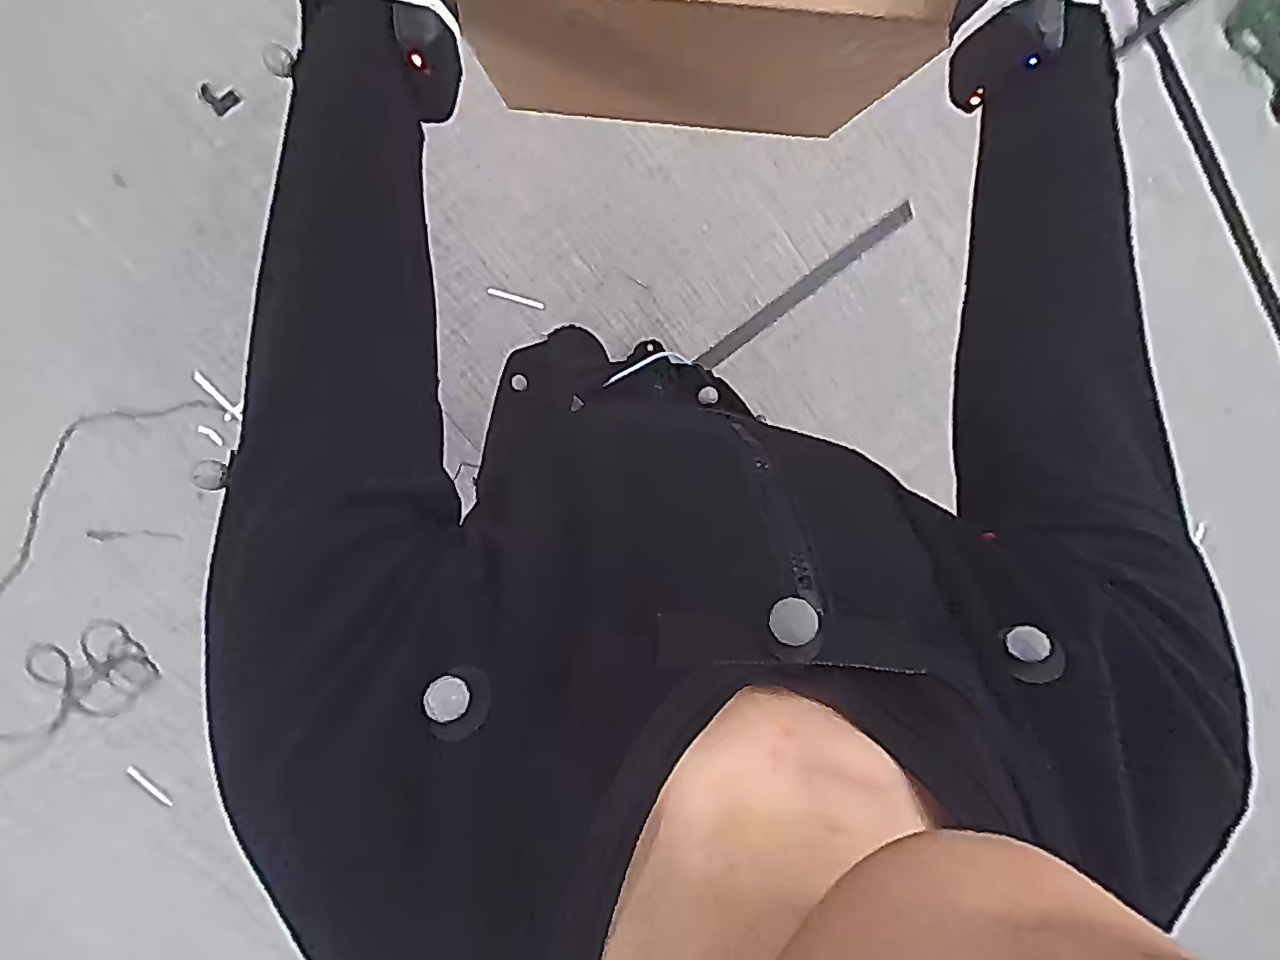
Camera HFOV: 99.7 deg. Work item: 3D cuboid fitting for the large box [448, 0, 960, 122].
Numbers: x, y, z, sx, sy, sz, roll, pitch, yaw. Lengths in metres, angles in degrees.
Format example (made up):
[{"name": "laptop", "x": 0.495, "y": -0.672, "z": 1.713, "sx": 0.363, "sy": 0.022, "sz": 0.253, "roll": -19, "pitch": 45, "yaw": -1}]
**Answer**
[{"name": "large box", "x": 0.042, "y": -0.549, "z": 0.485, "sx": 0.408, "sy": 0.320, "sz": 0.320, "roll": 2, "pitch": 110, "yaw": -3}]
